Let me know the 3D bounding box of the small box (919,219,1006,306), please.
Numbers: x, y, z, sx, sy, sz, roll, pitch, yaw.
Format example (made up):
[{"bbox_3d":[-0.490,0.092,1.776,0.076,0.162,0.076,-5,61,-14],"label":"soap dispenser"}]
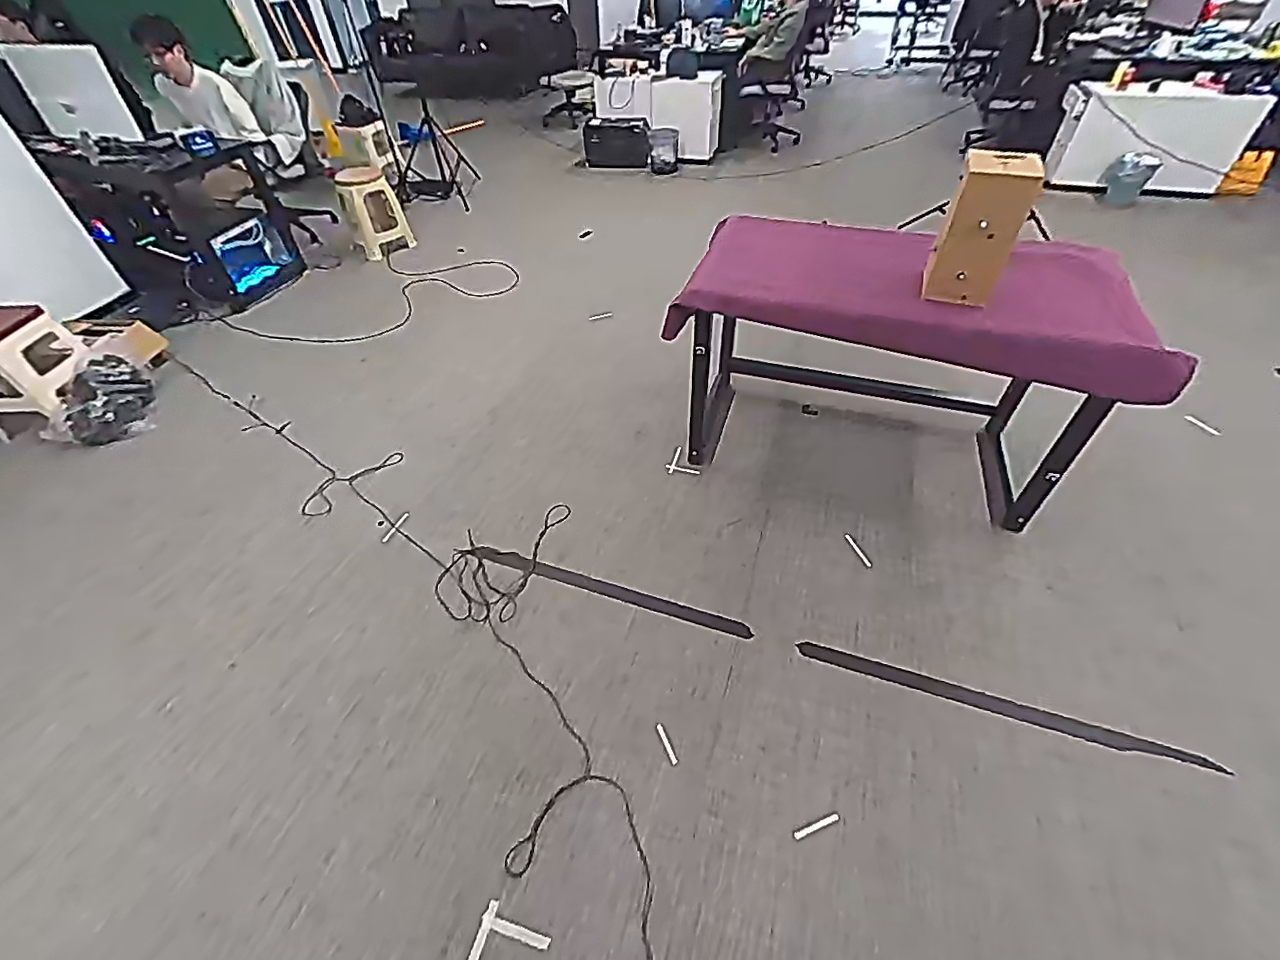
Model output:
[{"bbox_3d":[0.899,-0.608,1.517,0.168,0.176,0.179,15,48,16],"label":"small box"}]

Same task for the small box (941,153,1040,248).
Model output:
[{"bbox_3d":[0.898,-0.725,1.401,0.168,0.176,0.179,15,49,16],"label":"small box"}]
